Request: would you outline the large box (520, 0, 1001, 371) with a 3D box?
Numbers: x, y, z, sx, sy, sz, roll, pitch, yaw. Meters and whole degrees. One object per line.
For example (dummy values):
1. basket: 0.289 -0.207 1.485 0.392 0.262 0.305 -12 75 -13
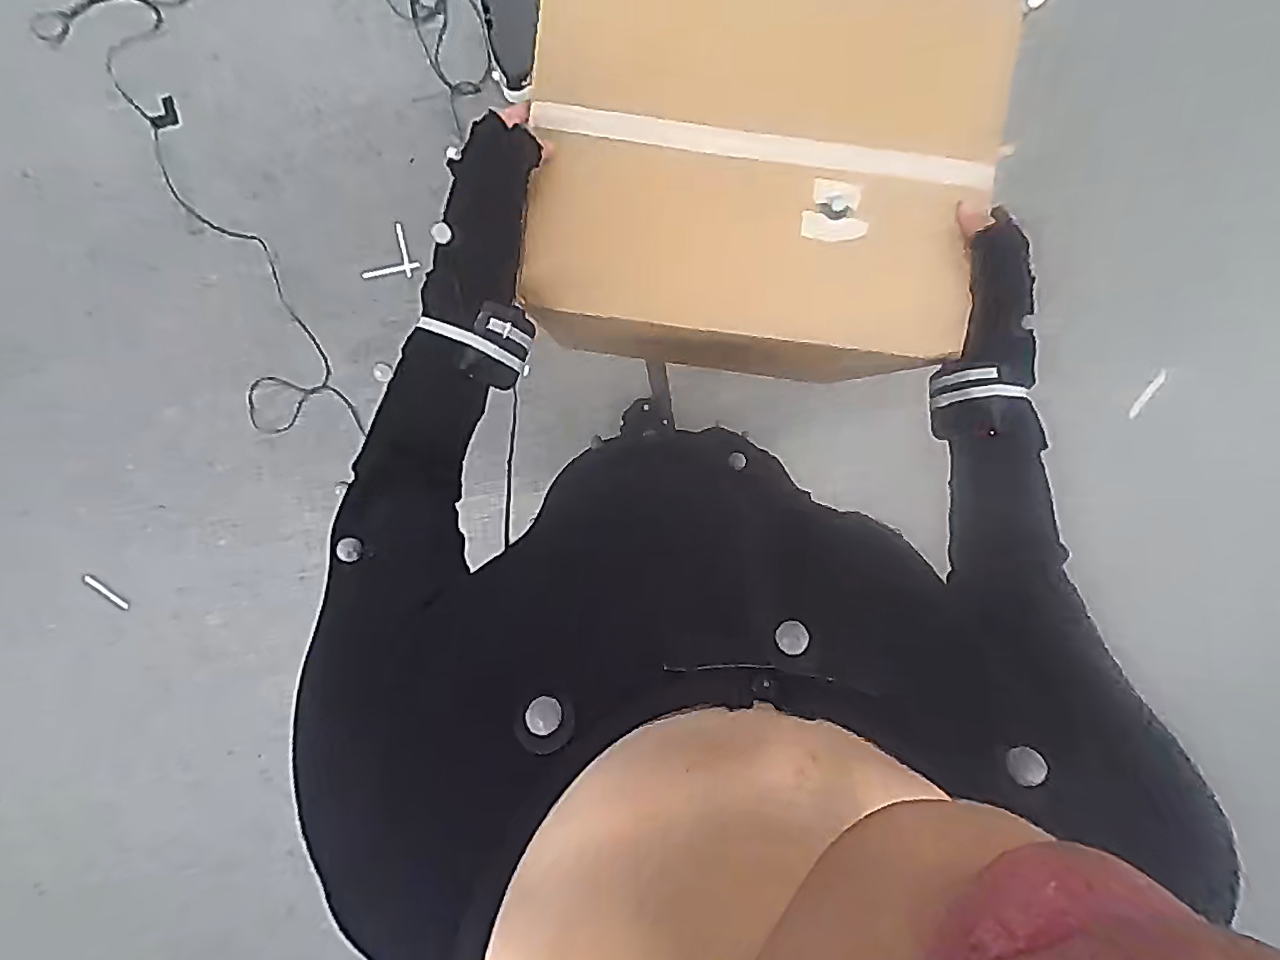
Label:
1. large box: 0.097 -0.312 0.622 0.408 0.320 0.320 6 96 -2
